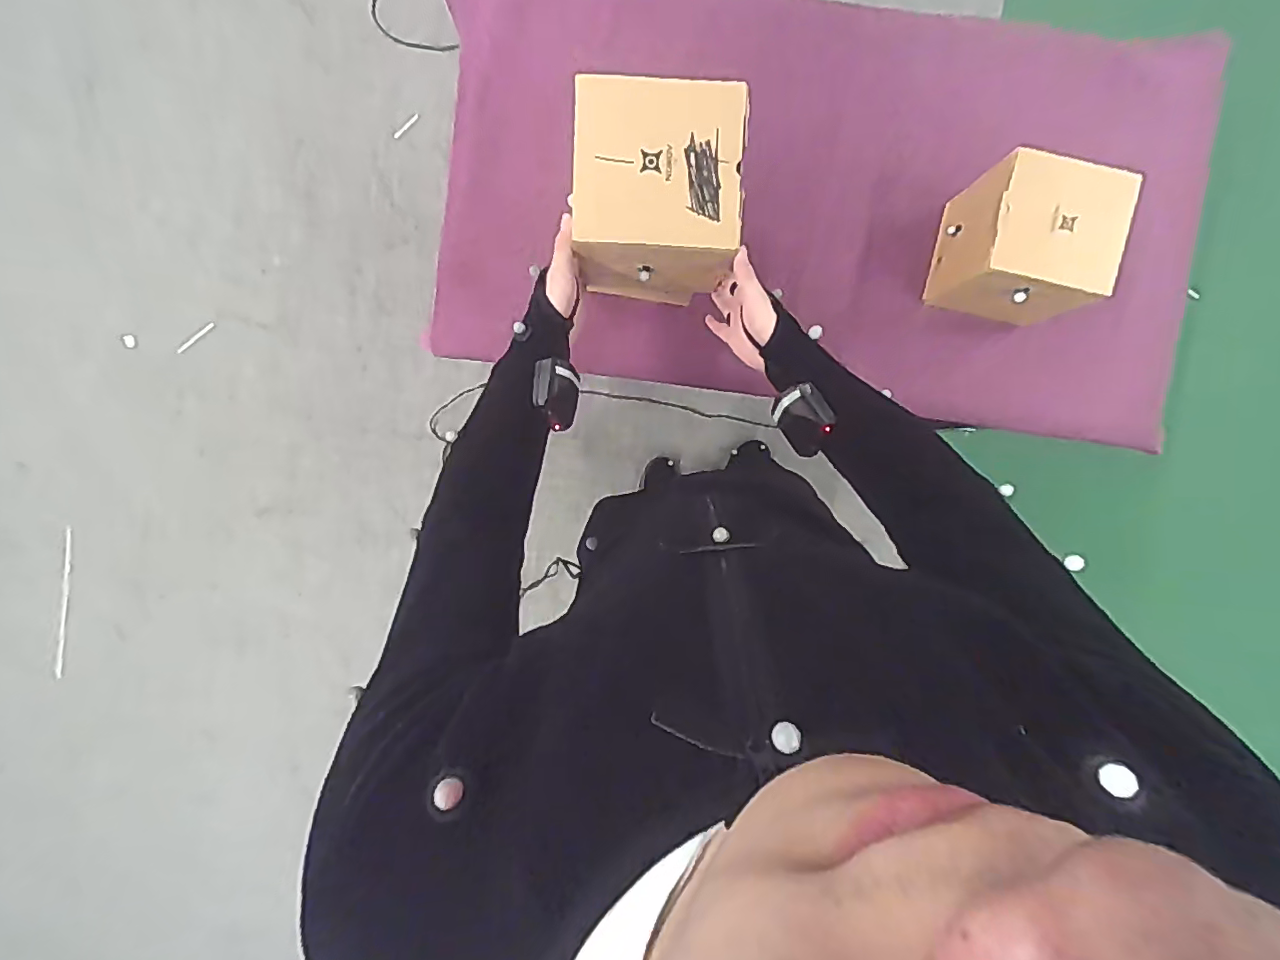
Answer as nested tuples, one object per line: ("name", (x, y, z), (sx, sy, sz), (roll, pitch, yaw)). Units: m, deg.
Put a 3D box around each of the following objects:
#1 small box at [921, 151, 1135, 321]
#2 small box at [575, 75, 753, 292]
("small box", (0.565, -0.350, 0.812), (0.179, 0.176, 0.168), (13, 93, -1))
("small box", (0.021, -0.323, 0.626), (0.179, 0.176, 0.168), (2, 94, -2))
